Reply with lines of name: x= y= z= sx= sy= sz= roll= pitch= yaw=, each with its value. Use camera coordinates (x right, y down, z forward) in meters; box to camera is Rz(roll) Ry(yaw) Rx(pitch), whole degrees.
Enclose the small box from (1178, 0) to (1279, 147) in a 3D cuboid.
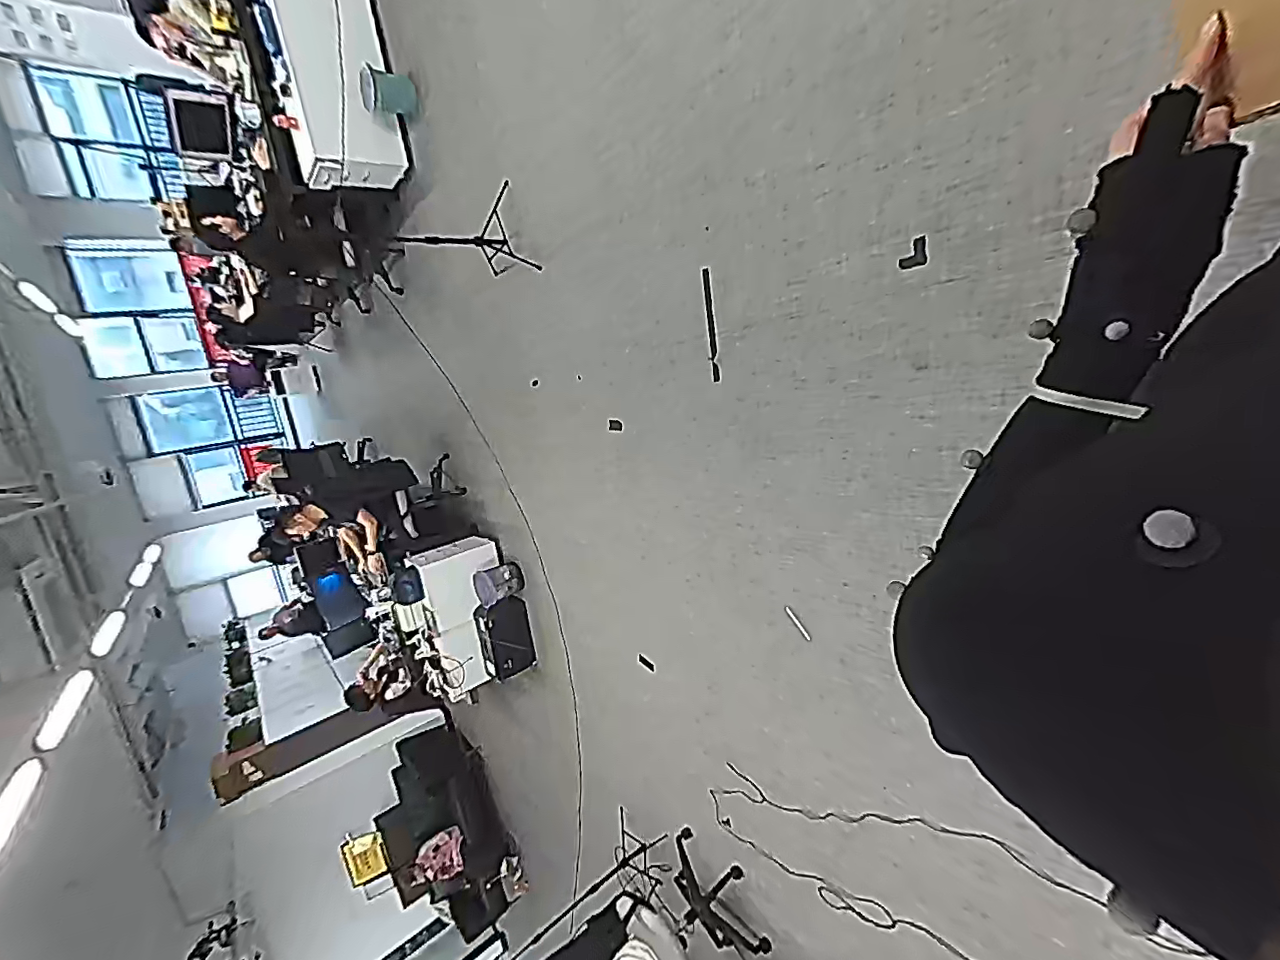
small box: x=0.362 y=-0.278 z=0.219 sx=0.168 sy=0.179 sz=0.176 roll=-14 pitch=105 yaw=20
